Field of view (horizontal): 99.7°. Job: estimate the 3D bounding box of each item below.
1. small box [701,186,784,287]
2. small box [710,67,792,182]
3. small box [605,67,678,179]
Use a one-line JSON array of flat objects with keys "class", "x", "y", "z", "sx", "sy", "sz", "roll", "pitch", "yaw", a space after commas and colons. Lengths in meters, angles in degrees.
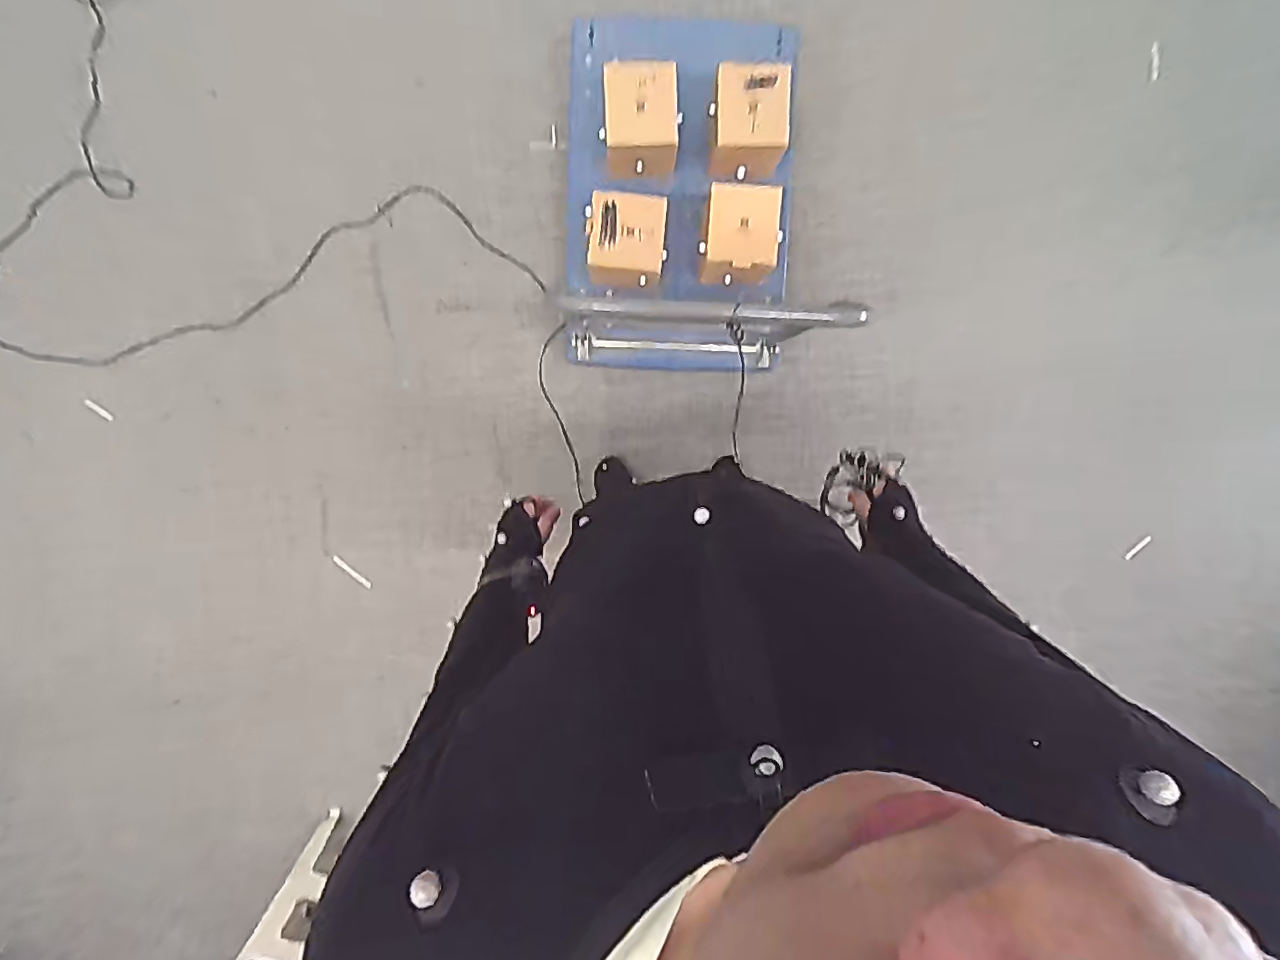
[{"class": "small box", "x": 0.244, "y": -0.591, "z": 1.328, "sx": 0.168, "sy": 0.176, "sz": 0.179, "roll": 3, "pitch": 95, "yaw": -1}, {"class": "small box", "x": 0.262, "y": -0.852, "z": 1.306, "sx": 0.168, "sy": 0.176, "sz": 0.179, "roll": 0, "pitch": 95, "yaw": 1}, {"class": "small box", "x": 0.004, "y": -0.851, "z": 1.305, "sx": 0.168, "sy": 0.176, "sz": 0.179, "roll": -2, "pitch": 94, "yaw": -1}]
